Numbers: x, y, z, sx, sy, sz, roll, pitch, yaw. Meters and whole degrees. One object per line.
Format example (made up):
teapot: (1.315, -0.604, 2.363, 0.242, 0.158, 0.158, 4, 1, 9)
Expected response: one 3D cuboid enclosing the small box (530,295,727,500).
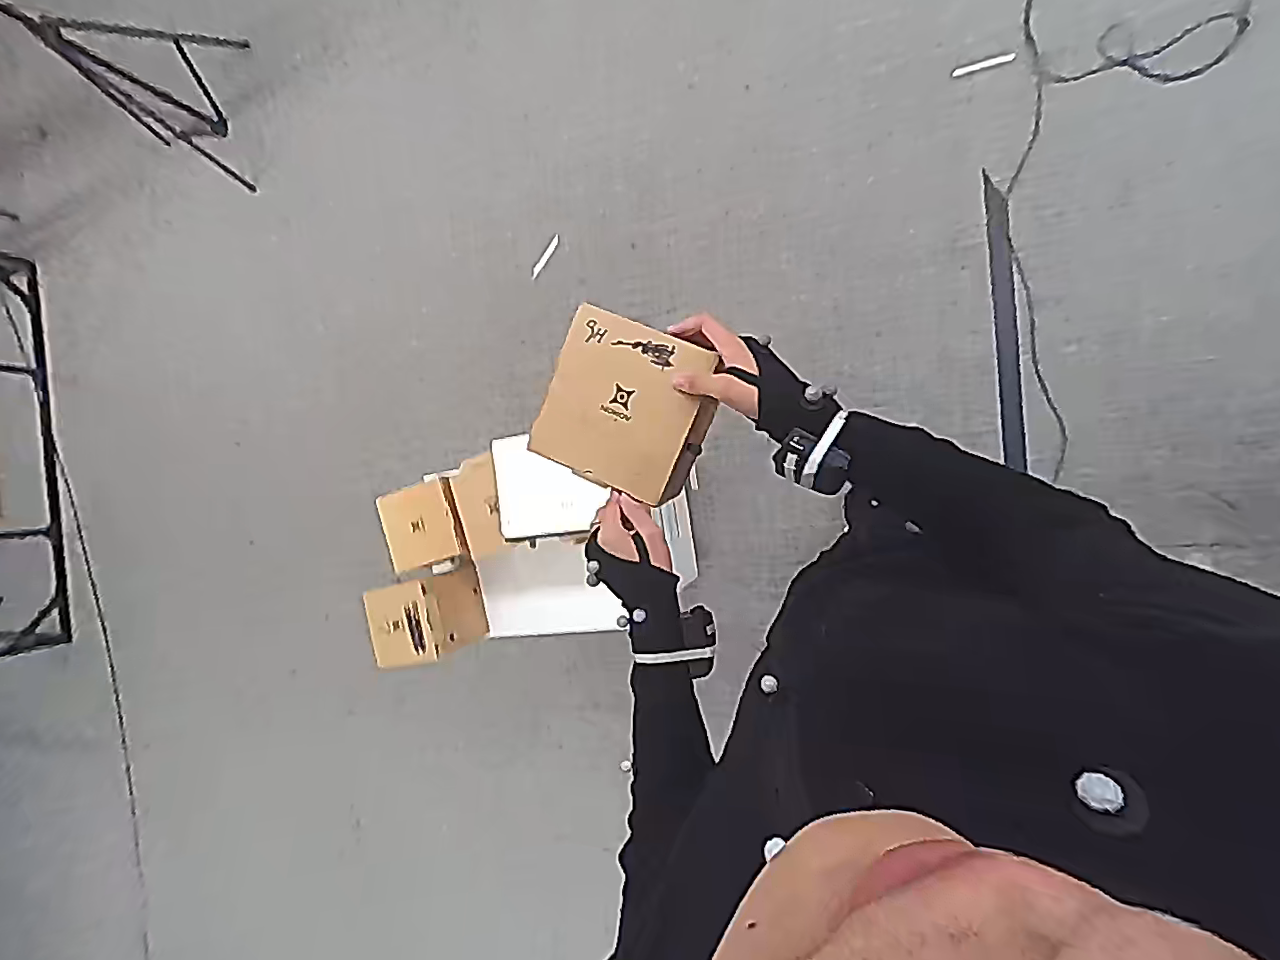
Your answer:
small box: (-0.002, -0.094, 0.659, 0.168, 0.176, 0.179, 25, 99, 10)
